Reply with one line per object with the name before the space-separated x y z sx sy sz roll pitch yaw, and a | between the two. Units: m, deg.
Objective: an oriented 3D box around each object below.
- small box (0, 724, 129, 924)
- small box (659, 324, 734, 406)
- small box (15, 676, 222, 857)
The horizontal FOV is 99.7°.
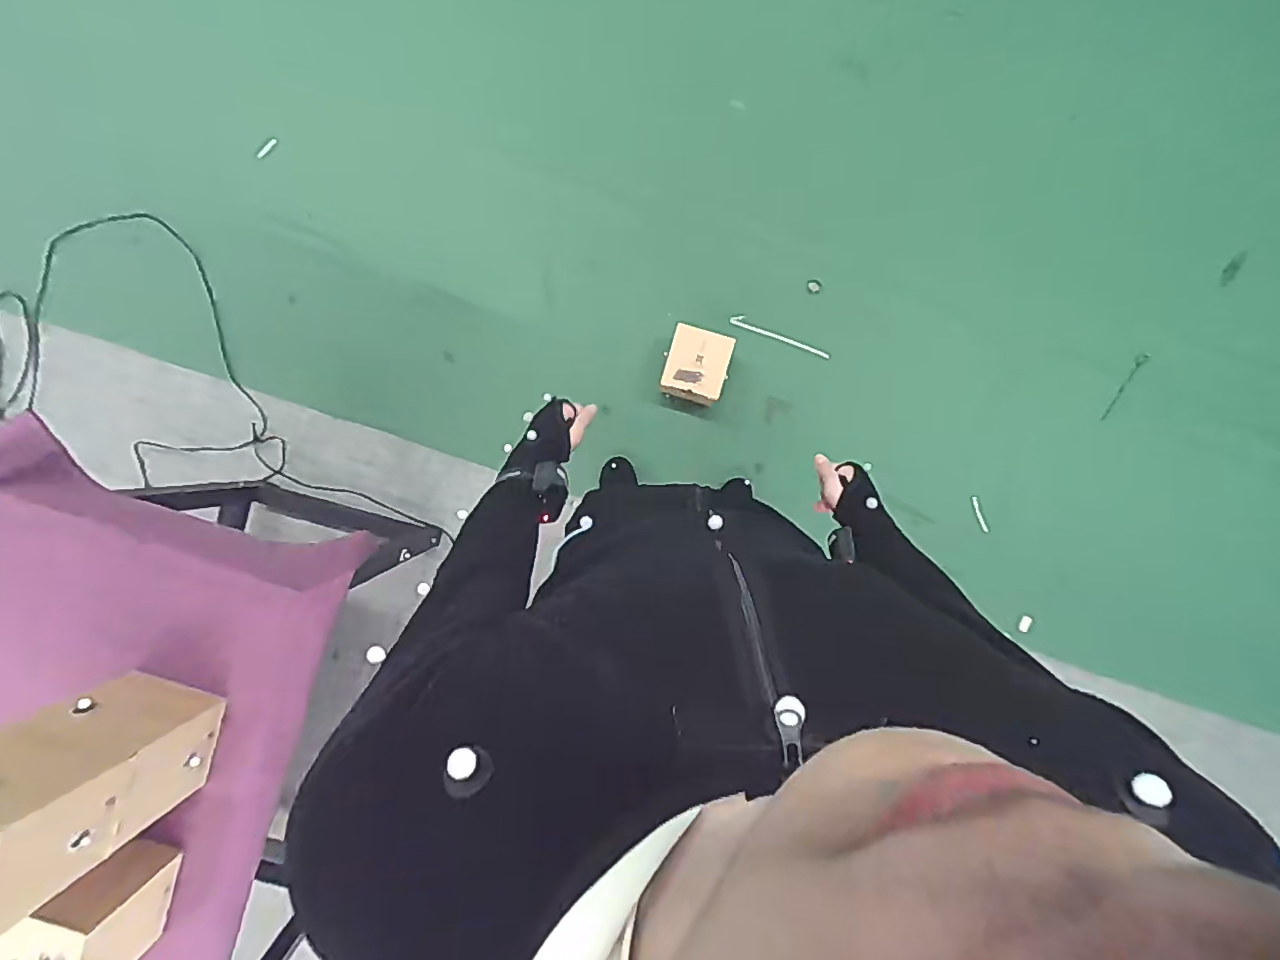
small box | -0.819 0.437 0.679 0.179 0.176 0.168 18 93 -1
small box | 0.154 -0.319 1.541 0.168 0.176 0.179 16 92 -1
small box | -0.815 0.429 0.842 0.179 0.176 0.168 18 93 -1
